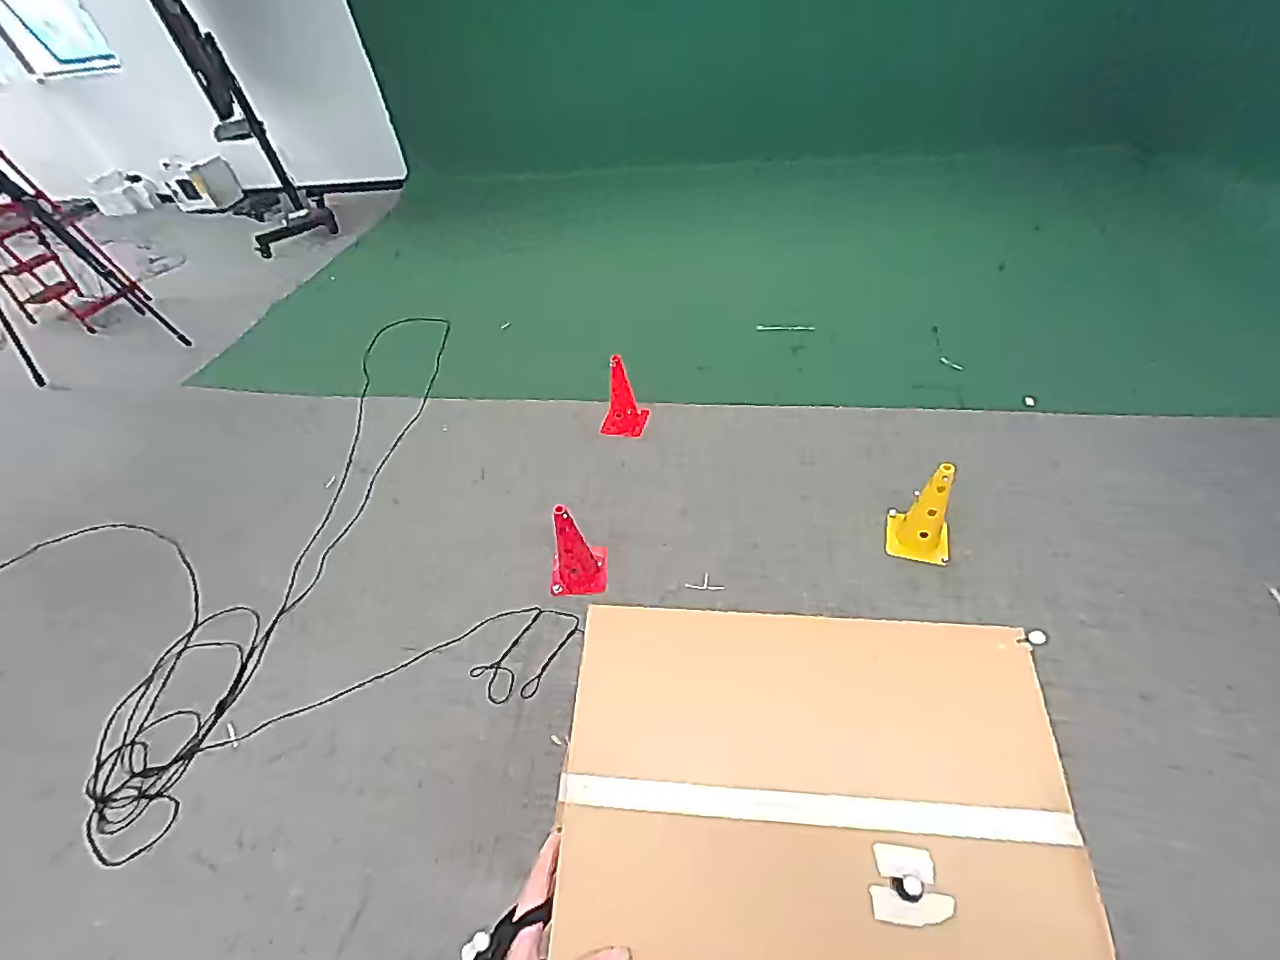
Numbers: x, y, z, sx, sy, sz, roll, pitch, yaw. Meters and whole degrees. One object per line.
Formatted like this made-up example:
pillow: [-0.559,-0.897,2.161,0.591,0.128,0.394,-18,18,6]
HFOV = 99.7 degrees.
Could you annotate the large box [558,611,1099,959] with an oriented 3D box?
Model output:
large box: [0.148,0.341,0.579,0.408,0.320,0.320,2,62,5]

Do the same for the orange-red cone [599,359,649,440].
orange-red cone: [-0.094,-0.377,2.395,0.199,0.360,0.198,8,47,17]
